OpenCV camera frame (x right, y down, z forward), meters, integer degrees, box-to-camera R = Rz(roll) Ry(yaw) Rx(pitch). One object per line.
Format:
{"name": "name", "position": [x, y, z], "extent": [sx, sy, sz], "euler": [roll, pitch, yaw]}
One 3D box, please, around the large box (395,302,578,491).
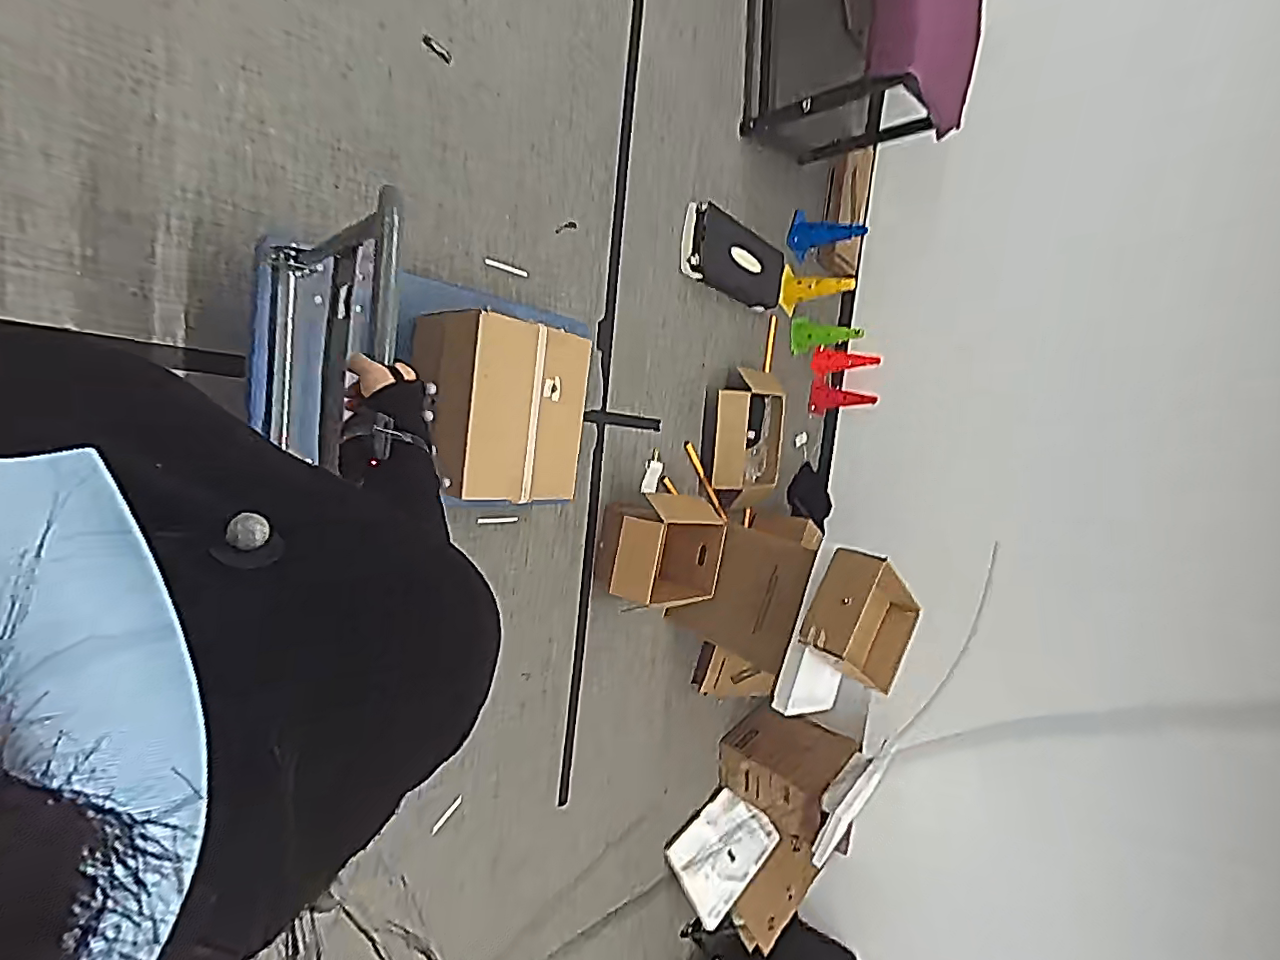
{"name": "large box", "position": [-0.385, -0.191, 1.342], "extent": [0.320, 0.320, 0.408], "euler": [2, 97, -49]}
